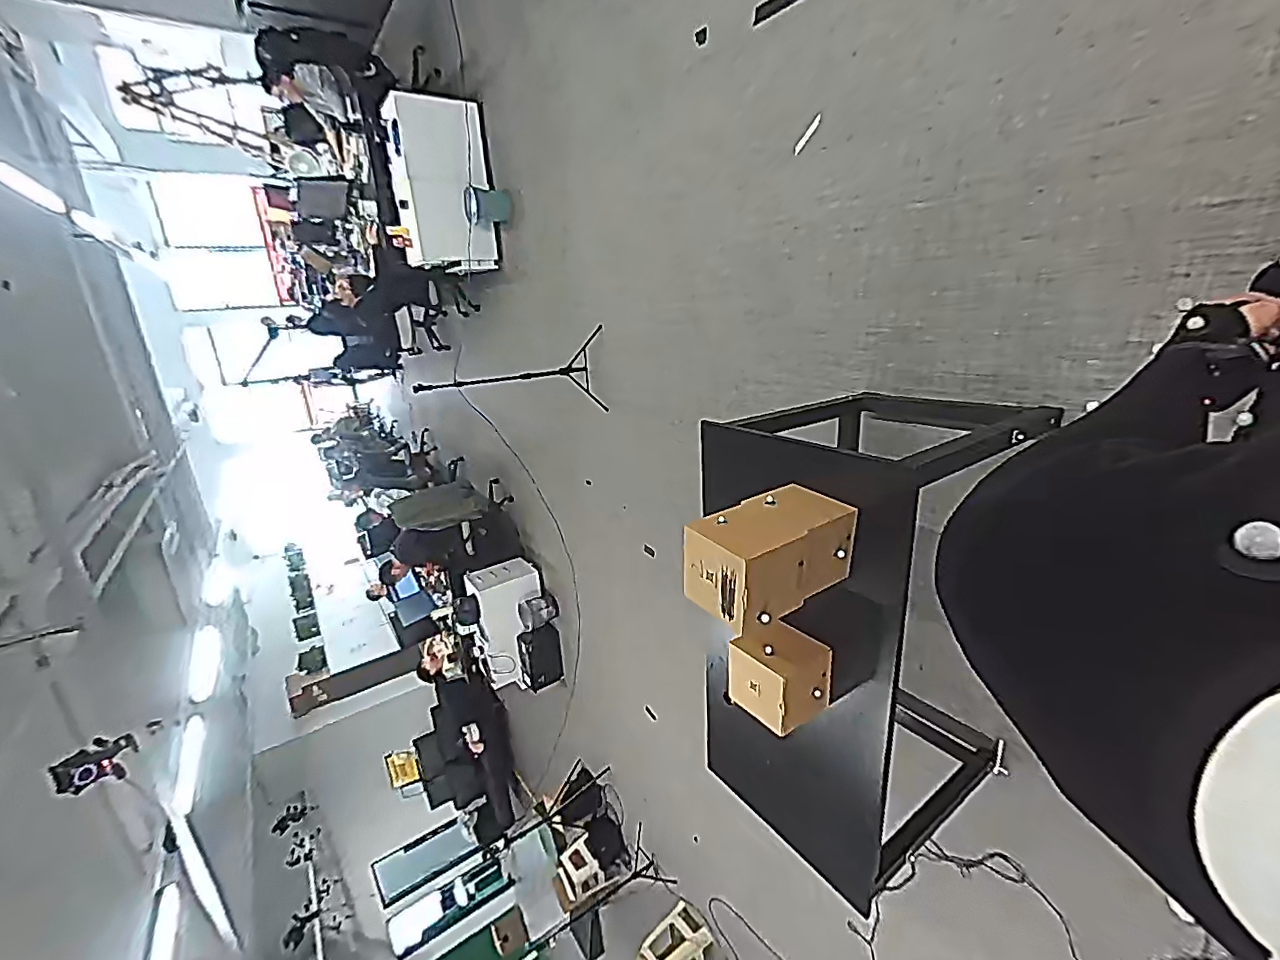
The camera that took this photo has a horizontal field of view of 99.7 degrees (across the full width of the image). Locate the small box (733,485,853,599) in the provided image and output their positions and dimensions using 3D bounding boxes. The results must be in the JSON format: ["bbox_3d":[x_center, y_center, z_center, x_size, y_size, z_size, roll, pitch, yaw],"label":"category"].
[{"bbox_3d":[0.323,0.122,1.160,0.179,0.176,0.168,29,128,49],"label":"small box"}]

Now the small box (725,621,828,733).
[{"bbox_3d":[0.326,0.463,1.310,0.179,0.176,0.168,21,121,52],"label":"small box"}]
